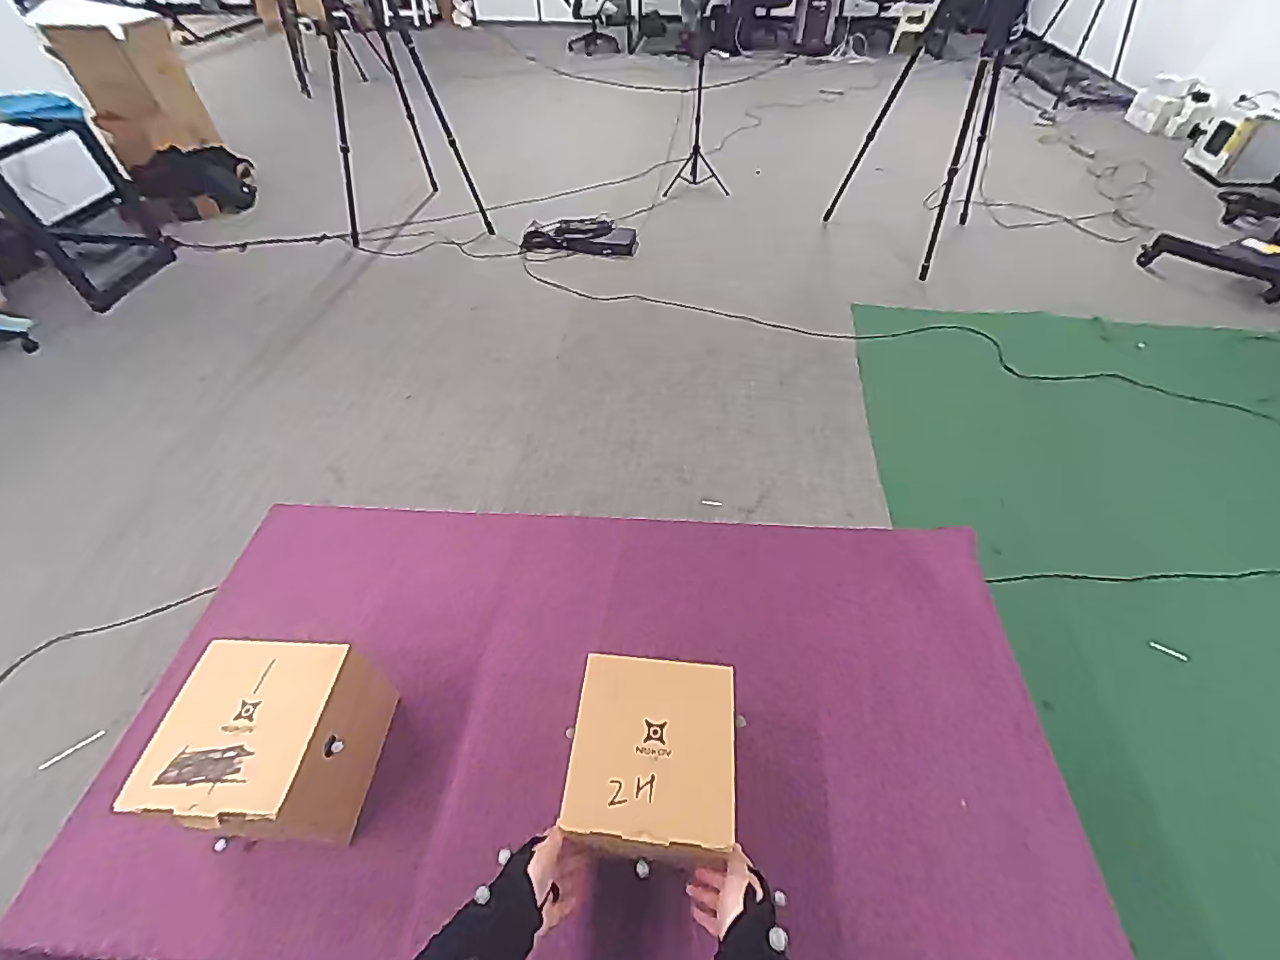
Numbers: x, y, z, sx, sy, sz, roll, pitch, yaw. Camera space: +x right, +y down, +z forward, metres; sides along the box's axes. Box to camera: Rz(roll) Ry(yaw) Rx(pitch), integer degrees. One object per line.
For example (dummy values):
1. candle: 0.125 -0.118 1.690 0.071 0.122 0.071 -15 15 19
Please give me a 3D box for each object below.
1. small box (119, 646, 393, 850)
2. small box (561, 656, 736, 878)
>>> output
1. small box: -0.416 0.314 0.630 0.168 0.176 0.179 2 47 2
2. small box: 0.017 0.324 0.610 0.168 0.176 0.179 4 48 5
